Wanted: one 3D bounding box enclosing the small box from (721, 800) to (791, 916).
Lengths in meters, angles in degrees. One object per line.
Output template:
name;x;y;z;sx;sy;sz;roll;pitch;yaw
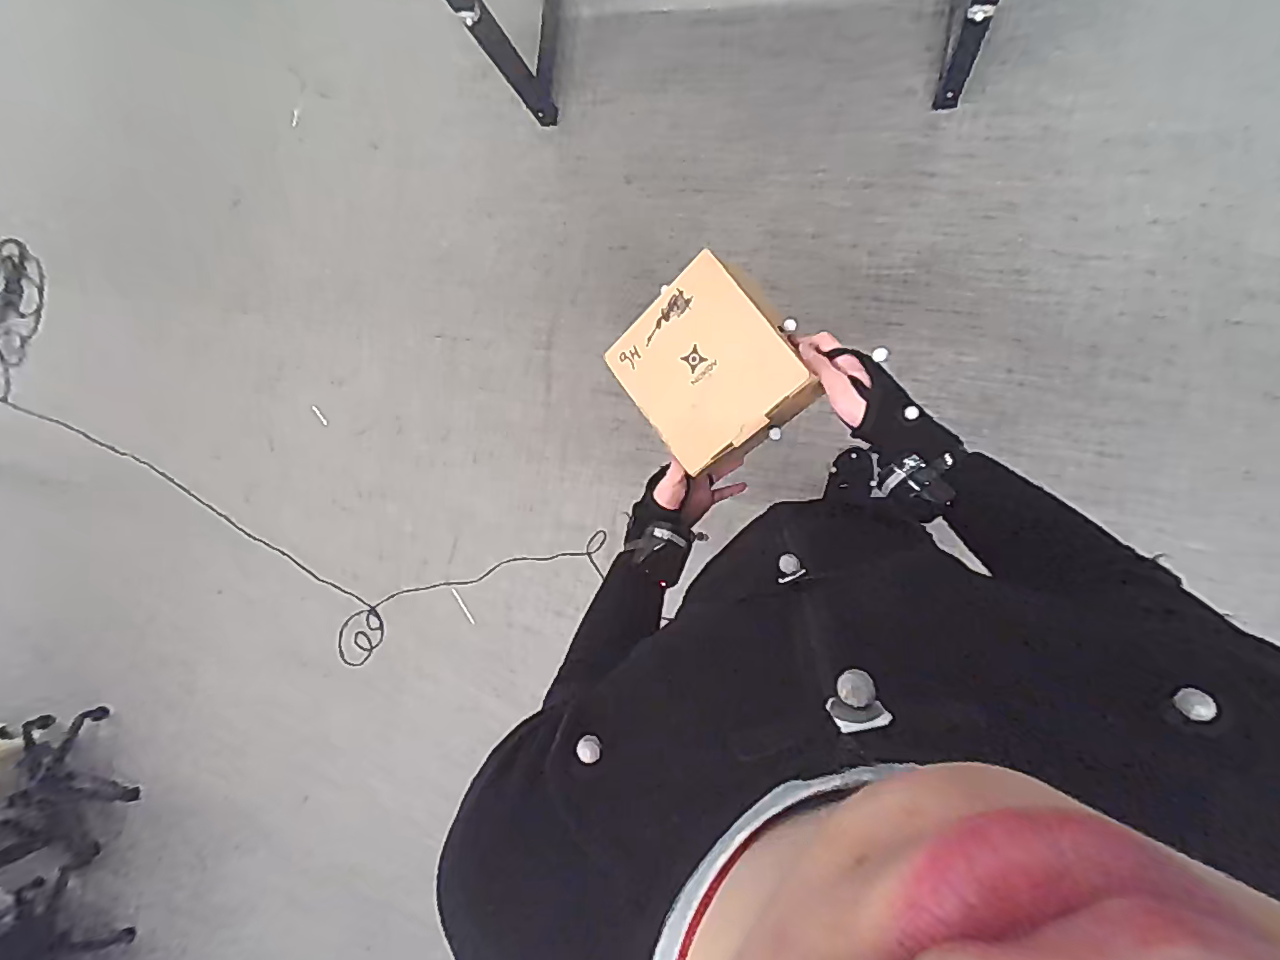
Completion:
small box;0.323;1.025;1.481;0.168;0.176;0.179;5;92;16

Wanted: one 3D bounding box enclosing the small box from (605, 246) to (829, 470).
small box;0.099;-0.137;0.637;0.168;0.176;0.179;-40;80;27
